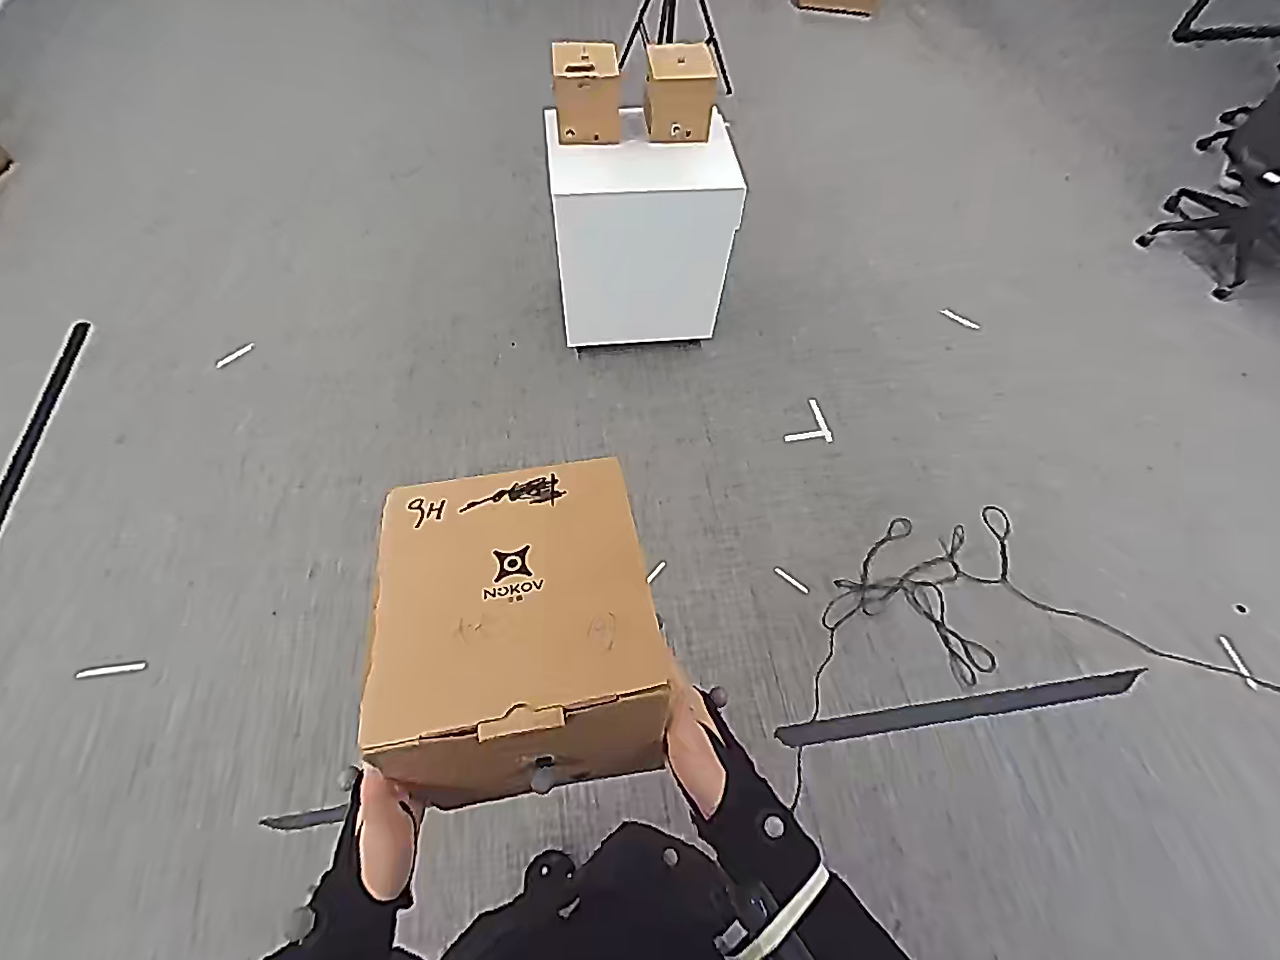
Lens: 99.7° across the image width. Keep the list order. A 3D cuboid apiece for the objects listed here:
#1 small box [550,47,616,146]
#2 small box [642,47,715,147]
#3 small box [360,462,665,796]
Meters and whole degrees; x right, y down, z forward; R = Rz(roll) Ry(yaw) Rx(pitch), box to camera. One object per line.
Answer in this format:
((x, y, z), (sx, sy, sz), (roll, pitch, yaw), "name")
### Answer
((-0.151, -1.026, 1.453), (0.168, 0.176, 0.179), (-4, 61, -6), "small box")
((0.097, -1.044, 1.478), (0.168, 0.176, 0.179), (-6, 63, -5), "small box")
((-0.080, 0.114, 0.396), (0.168, 0.176, 0.179), (-8, 51, -8), "small box")
